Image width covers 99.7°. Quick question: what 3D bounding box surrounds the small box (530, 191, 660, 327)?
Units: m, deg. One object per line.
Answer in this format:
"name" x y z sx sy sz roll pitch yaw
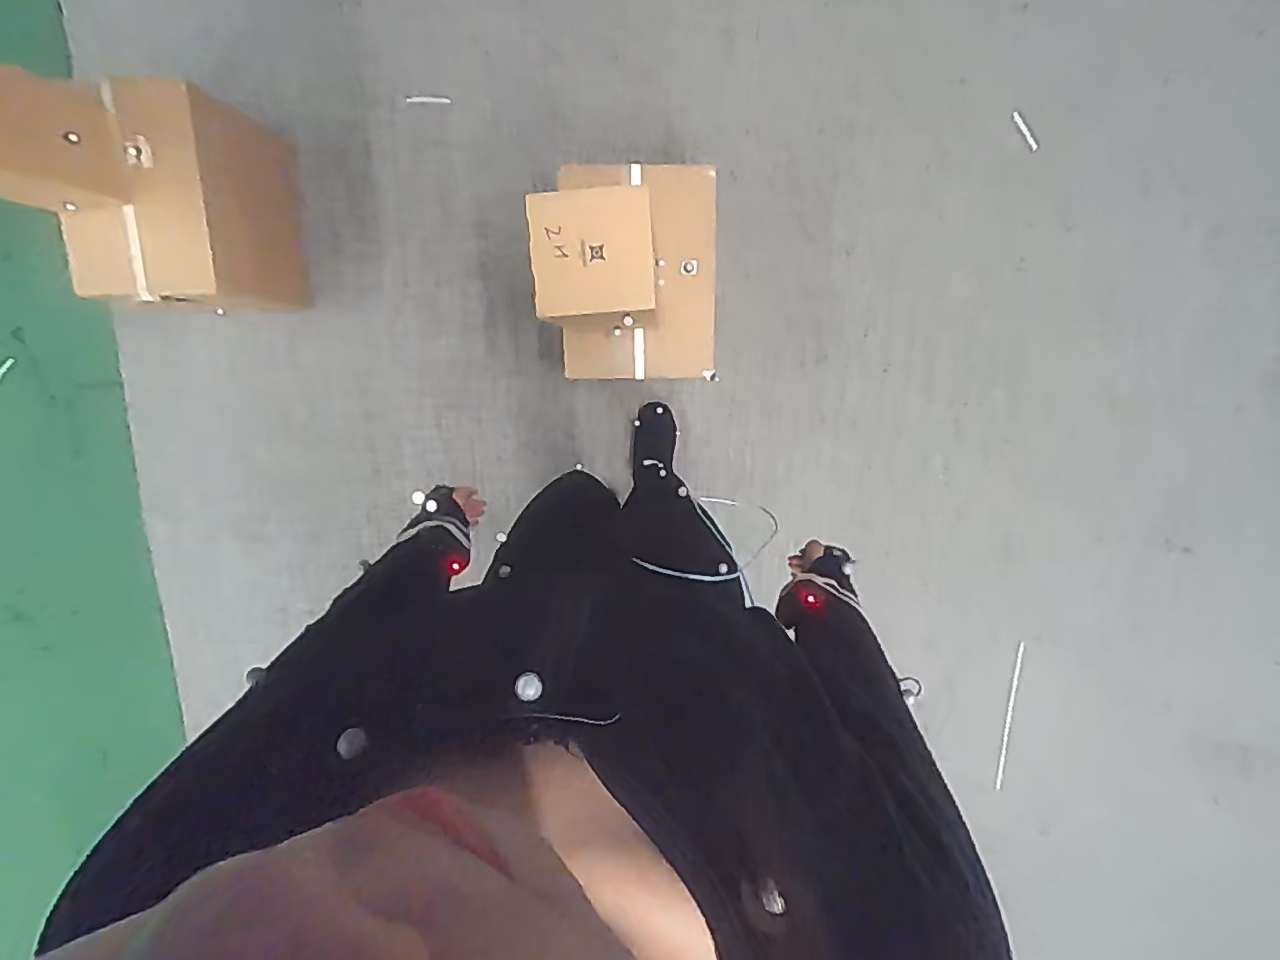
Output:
"small box" -0.058 -0.331 0.839 0.179 0.176 0.168 -2 102 5

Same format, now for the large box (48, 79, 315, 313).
"large box" -1.006 -0.609 1.238 0.320 0.320 0.408 1 101 3

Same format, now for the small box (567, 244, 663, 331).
"small box" -0.045 -0.369 0.999 0.168 0.176 0.179 -2 103 5
